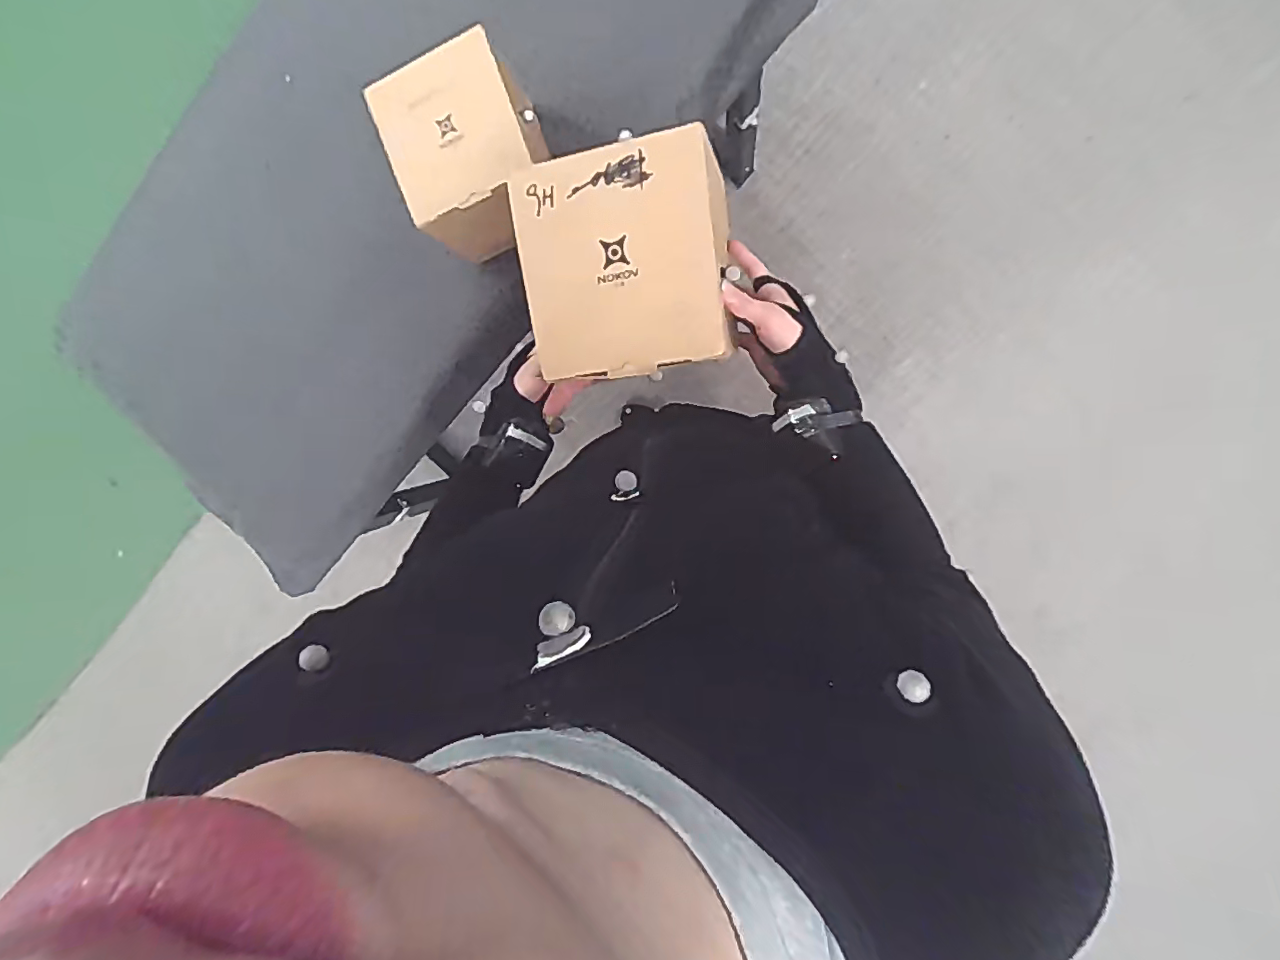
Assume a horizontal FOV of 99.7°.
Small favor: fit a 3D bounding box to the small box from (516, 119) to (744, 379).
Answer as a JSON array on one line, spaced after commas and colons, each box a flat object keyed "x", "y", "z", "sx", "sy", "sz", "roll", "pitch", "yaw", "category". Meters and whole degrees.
[{"x": 0.007, "y": -0.201, "z": 0.512, "sx": 0.168, "sy": 0.176, "sz": 0.179, "roll": -5, "pitch": 105, "yaw": 14, "category": "small box"}]

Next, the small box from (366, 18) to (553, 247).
[{"x": -0.212, "y": -0.431, "z": 0.714, "sx": 0.168, "sy": 0.176, "sz": 0.179, "roll": -20, "pitch": 93, "yaw": 10, "category": "small box"}]
